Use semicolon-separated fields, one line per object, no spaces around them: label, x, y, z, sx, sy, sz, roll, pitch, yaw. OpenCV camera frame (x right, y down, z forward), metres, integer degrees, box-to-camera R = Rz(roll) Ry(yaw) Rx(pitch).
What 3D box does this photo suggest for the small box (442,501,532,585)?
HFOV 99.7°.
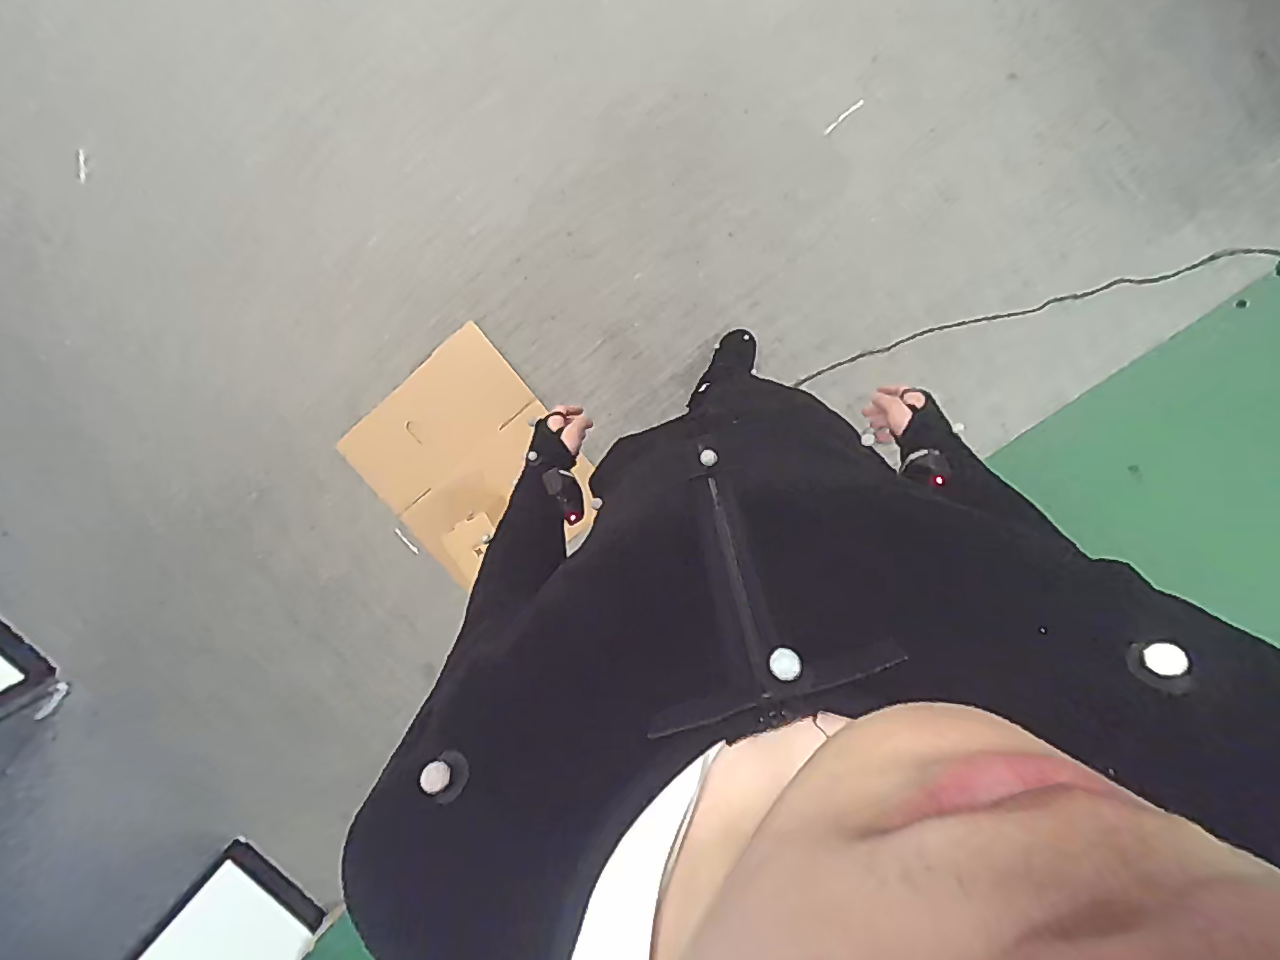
small box;-0.455;0.179;1.631;0.168;0.176;0.179;-29;100;11
